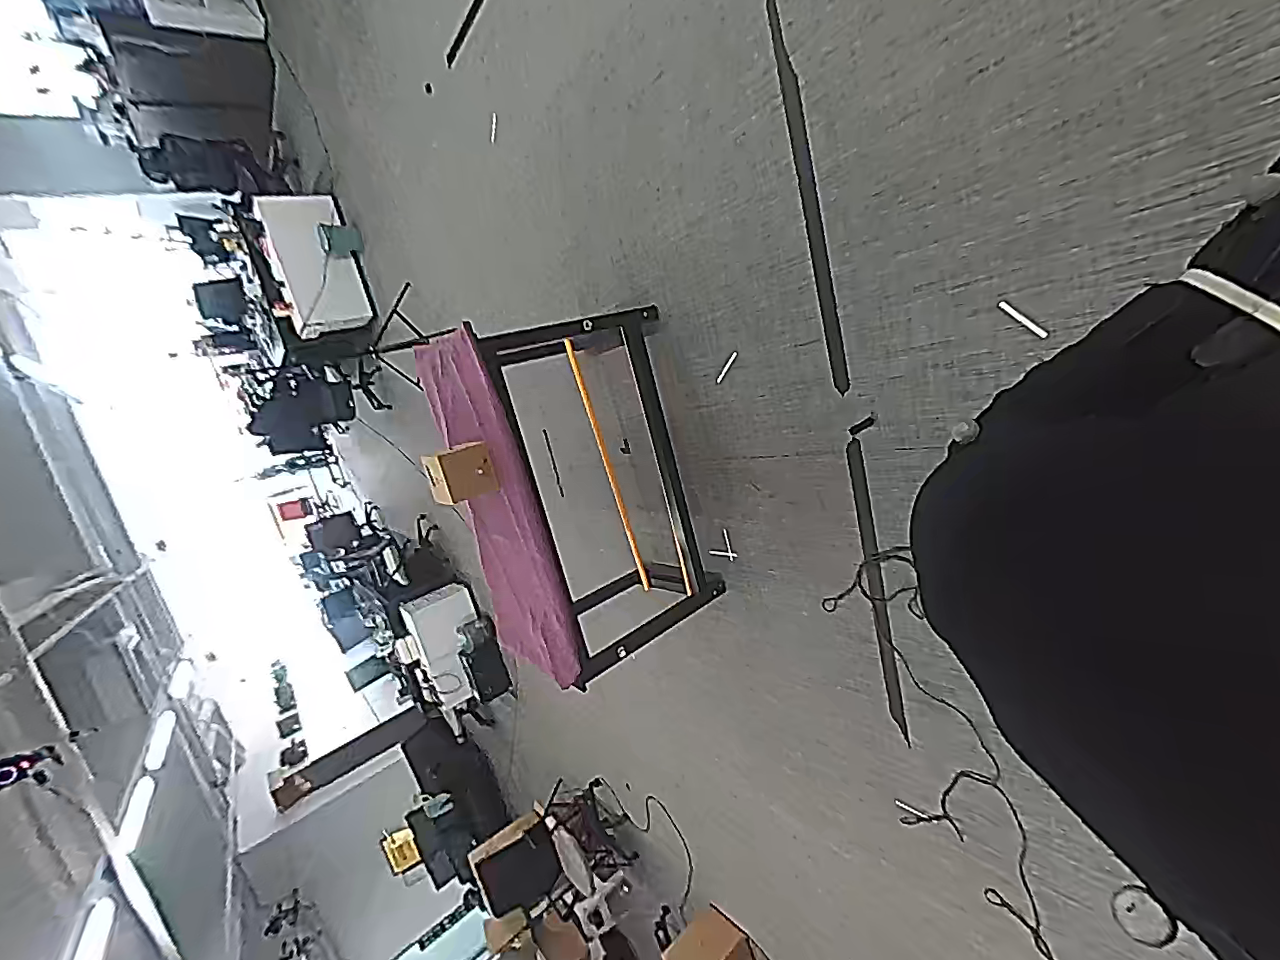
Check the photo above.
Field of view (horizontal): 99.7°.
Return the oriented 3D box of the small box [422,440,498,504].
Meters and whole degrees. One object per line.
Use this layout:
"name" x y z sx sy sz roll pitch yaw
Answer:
"small box" -0.595 -0.031 1.798 0.179 0.176 0.168 3 111 53
